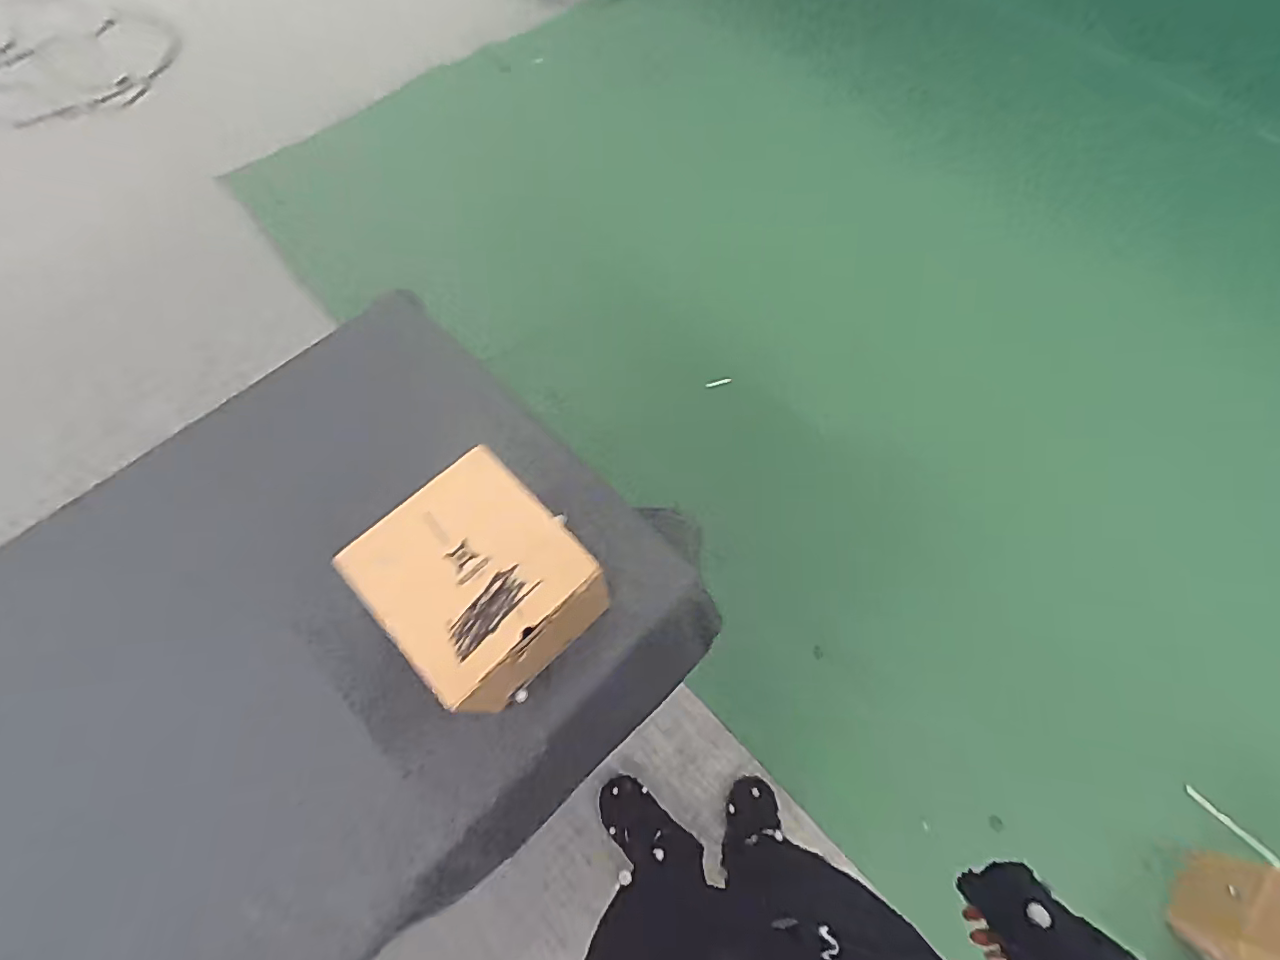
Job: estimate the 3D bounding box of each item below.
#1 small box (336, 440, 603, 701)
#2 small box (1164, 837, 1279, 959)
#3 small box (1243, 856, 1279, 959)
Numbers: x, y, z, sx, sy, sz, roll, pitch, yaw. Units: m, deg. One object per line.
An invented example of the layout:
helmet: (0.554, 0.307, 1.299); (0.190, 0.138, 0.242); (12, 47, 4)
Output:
small box: (-0.152, 0.098, 0.548); (0.168, 0.176, 0.179); (-42, 73, -17)
small box: (1.198, 0.842, 1.055); (0.179, 0.176, 0.168); (-40, 72, -16)
small box: (1.206, 0.787, 0.921); (0.179, 0.176, 0.168); (-41, 73, -18)
